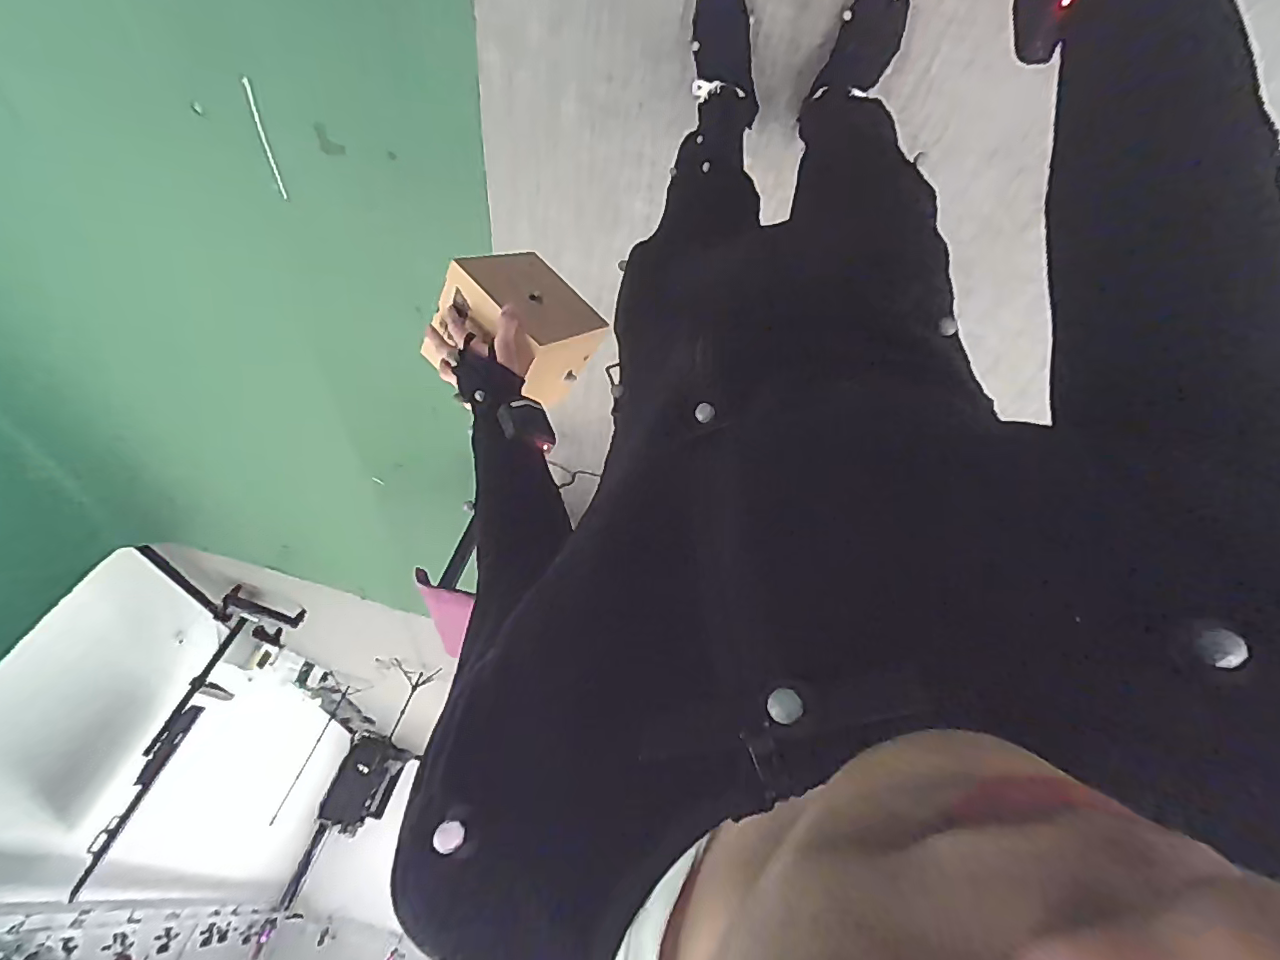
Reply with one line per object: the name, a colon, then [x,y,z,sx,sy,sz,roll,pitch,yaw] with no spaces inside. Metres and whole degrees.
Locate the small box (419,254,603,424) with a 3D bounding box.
small box: [-0.190,-0.217,0.813,0.179,0.176,0.168,44,129,6]
